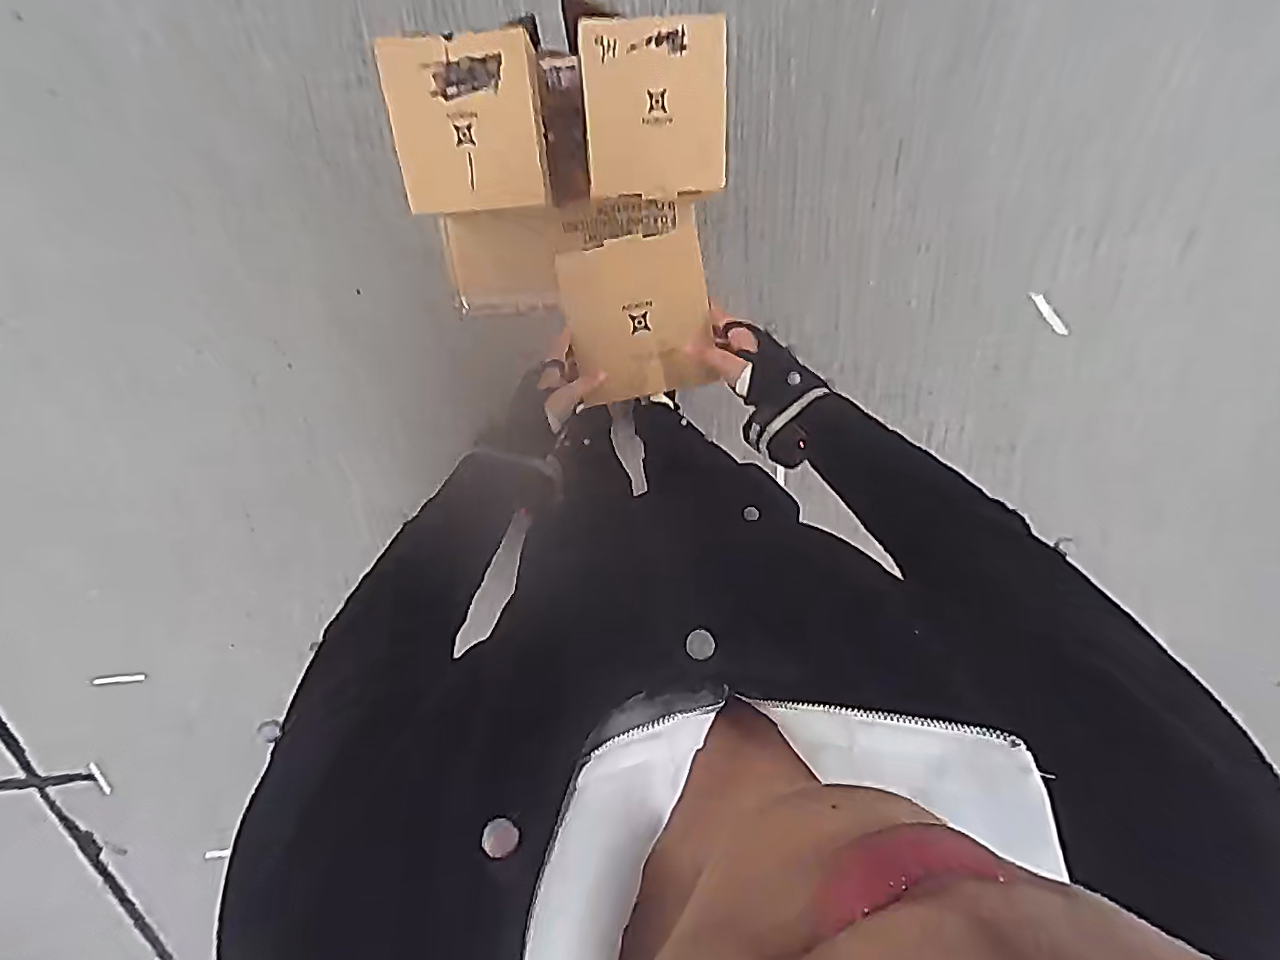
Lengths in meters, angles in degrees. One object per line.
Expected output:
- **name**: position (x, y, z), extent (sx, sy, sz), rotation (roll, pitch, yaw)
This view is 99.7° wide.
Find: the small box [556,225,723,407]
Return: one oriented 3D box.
- **small box**: position (0.001, -0.198, 0.687), extent (0.168, 0.176, 0.179), rotation (-11, 103, 4)
